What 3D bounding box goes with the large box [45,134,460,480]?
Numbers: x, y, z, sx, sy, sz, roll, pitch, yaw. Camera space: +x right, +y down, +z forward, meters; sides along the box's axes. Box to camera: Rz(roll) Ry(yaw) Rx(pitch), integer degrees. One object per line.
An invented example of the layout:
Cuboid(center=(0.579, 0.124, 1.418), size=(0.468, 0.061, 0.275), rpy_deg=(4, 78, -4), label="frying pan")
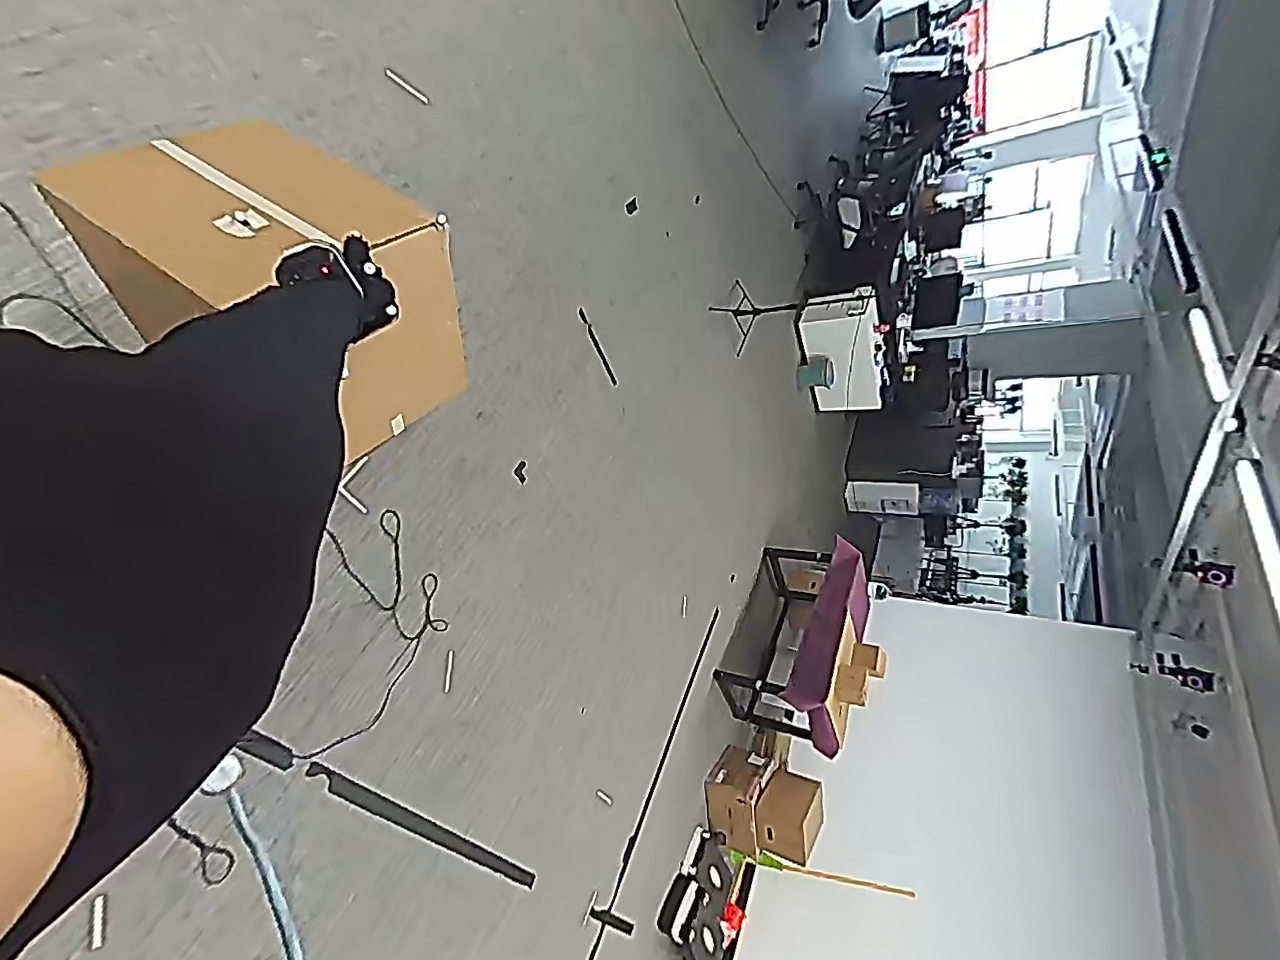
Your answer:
Cuboid(center=(-0.549, -0.275, 0.853), size=(0.320, 0.408, 0.320), rpy_deg=(-48, 164, -36), label="large box")
